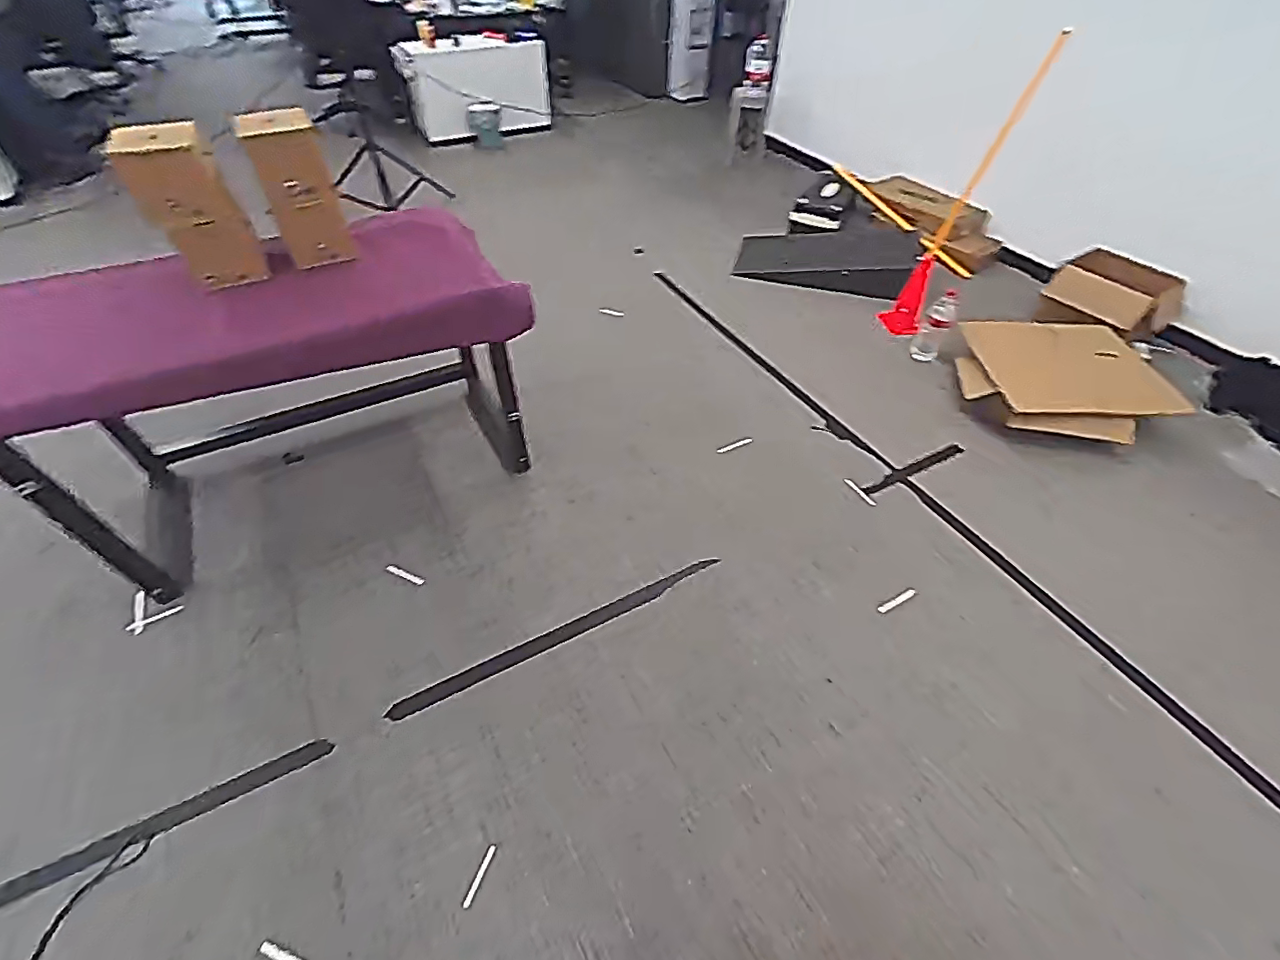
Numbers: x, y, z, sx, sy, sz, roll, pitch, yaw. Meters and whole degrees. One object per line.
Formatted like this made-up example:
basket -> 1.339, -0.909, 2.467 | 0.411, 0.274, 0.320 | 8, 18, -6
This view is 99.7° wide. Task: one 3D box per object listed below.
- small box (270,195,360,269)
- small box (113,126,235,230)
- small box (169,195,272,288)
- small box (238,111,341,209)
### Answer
small box -> -0.918, -0.723, 1.529 | 0.168, 0.176, 0.179 | -22, 53, -19
small box -> -1.120, -0.736, 1.316 | 0.168, 0.176, 0.179 | -20, 53, -19
small box -> -1.110, -0.629, 1.439 | 0.168, 0.176, 0.179 | -22, 52, -20
small box -> -0.911, -0.835, 1.412 | 0.168, 0.176, 0.179 | -24, 55, -21
